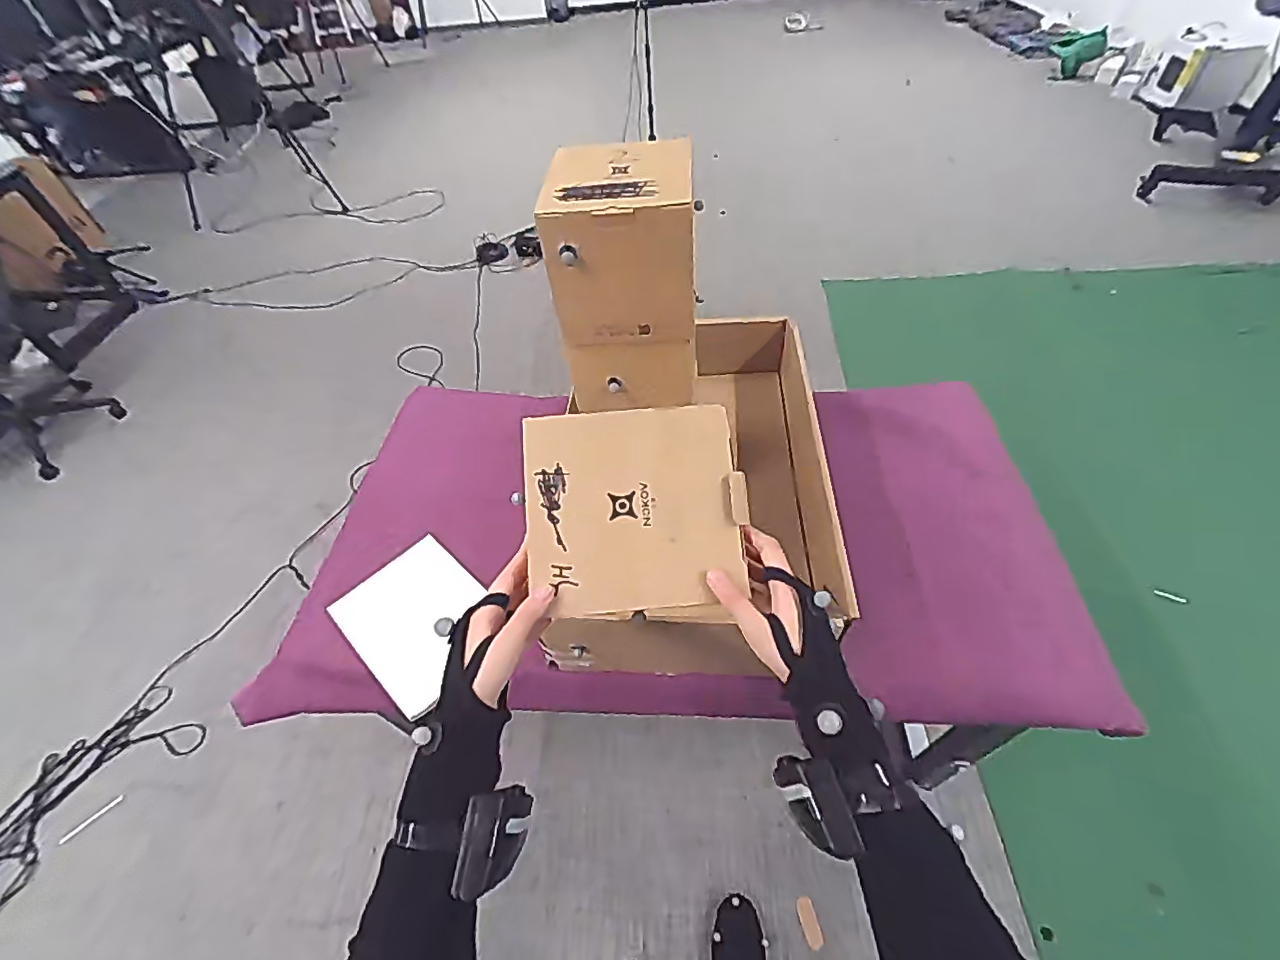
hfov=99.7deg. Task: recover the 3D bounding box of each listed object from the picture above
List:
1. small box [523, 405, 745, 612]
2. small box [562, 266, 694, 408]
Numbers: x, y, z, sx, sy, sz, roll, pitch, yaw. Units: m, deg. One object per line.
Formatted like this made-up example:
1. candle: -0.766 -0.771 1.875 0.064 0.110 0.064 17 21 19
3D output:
1. small box: -0.011 0.037 0.514 0.179 0.176 0.168 -3 76 -3
2. small box: -0.006 -0.192 0.800 0.168 0.176 0.179 1 51 7
